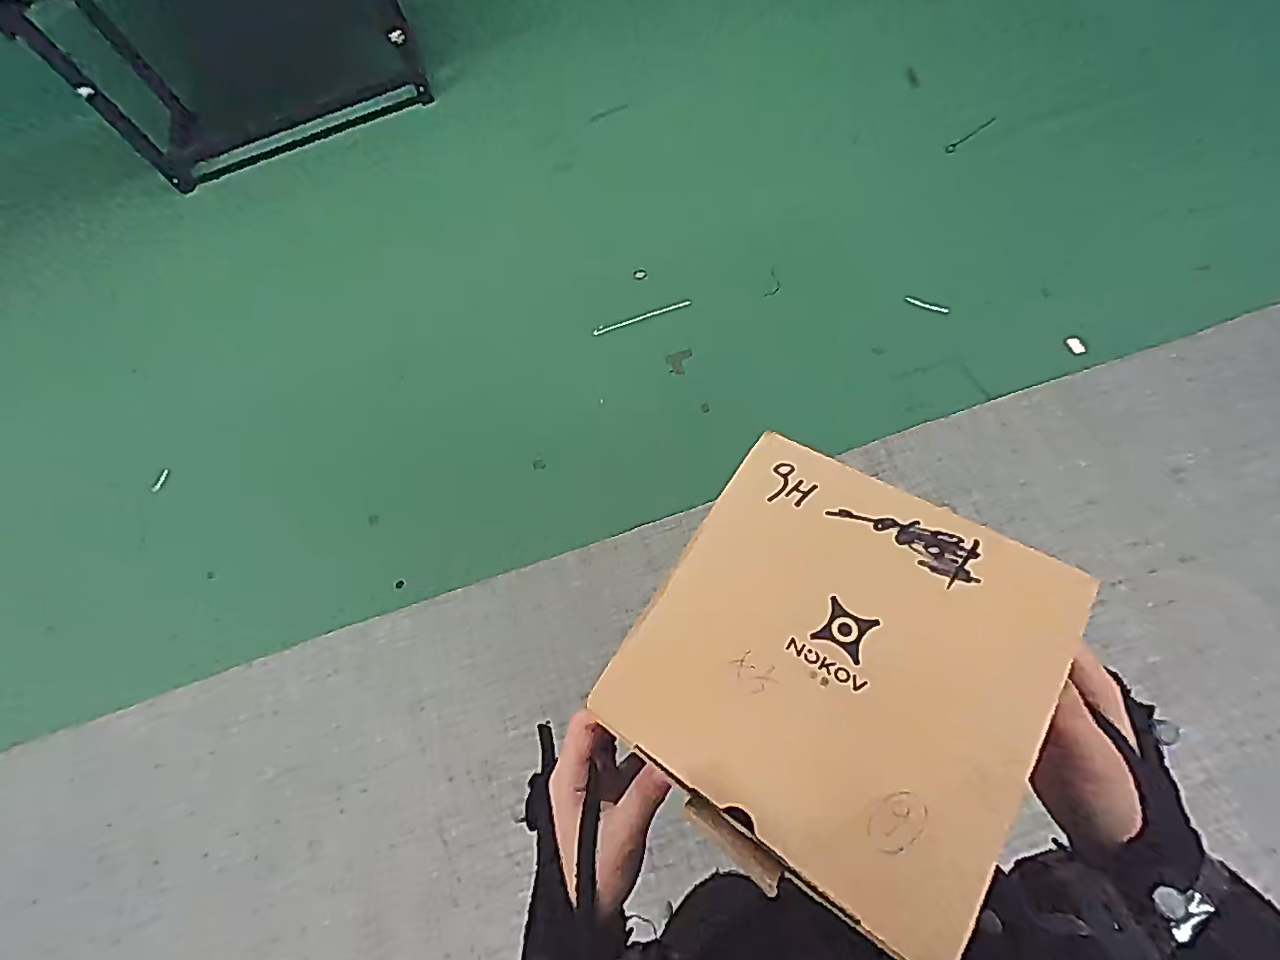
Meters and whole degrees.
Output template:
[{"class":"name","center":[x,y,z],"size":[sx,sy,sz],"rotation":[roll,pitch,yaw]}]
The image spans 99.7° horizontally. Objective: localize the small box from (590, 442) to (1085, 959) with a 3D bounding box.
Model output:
[{"class":"small box","center":[0.102,0.116,0.319],"size":[0.168,0.176,0.179],"rotation":[28,72,23]}]
